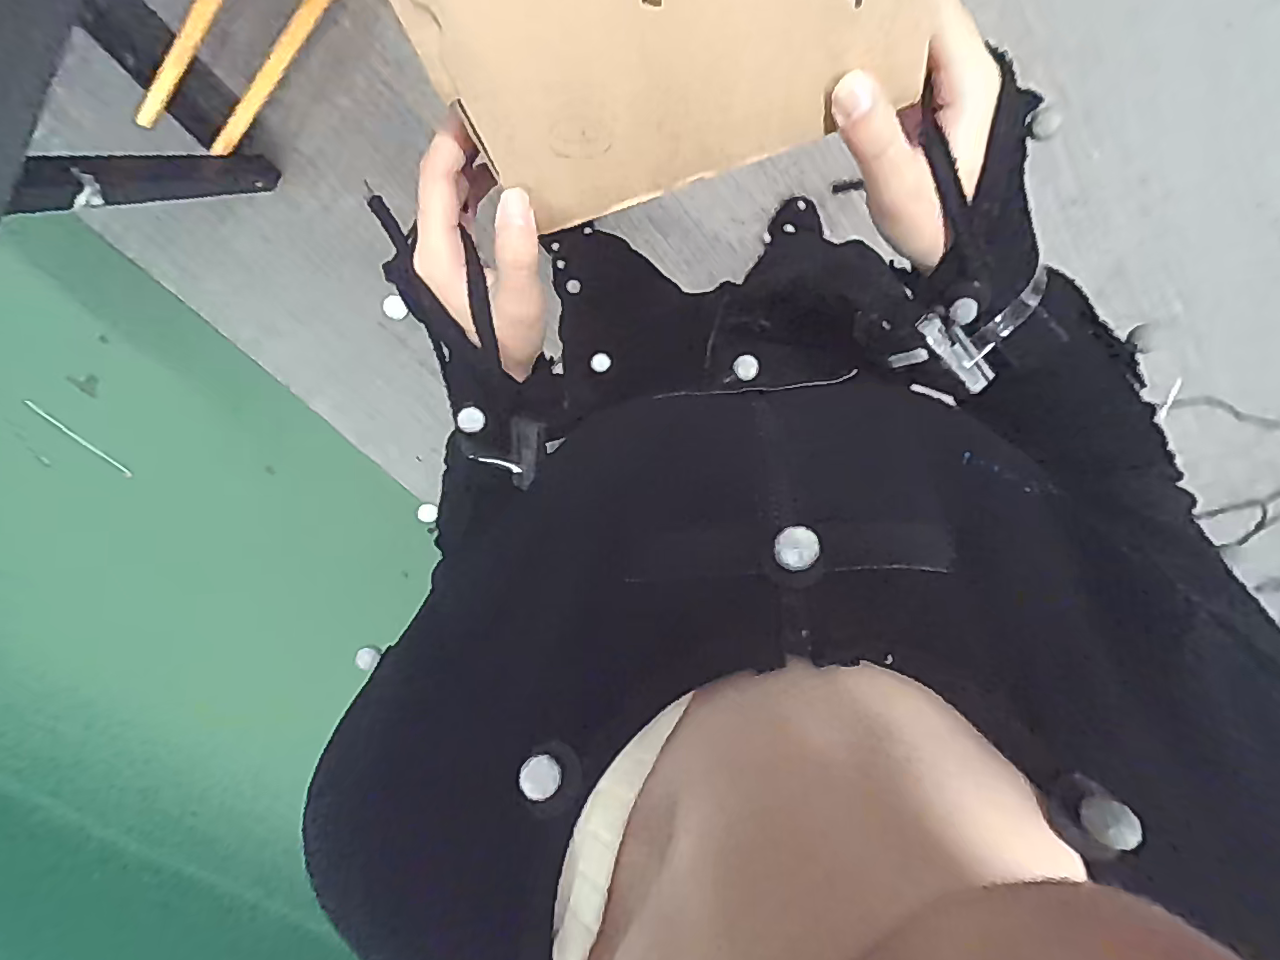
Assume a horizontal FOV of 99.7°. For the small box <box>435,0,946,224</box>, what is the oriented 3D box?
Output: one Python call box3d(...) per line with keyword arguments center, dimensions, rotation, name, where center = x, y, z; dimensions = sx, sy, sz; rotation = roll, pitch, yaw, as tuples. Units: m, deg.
box3d(center=(0.008, -0.244, 0.214), dimensions=(0.179, 0.176, 0.168), rotation=(-13, 148, 9), name="small box")
